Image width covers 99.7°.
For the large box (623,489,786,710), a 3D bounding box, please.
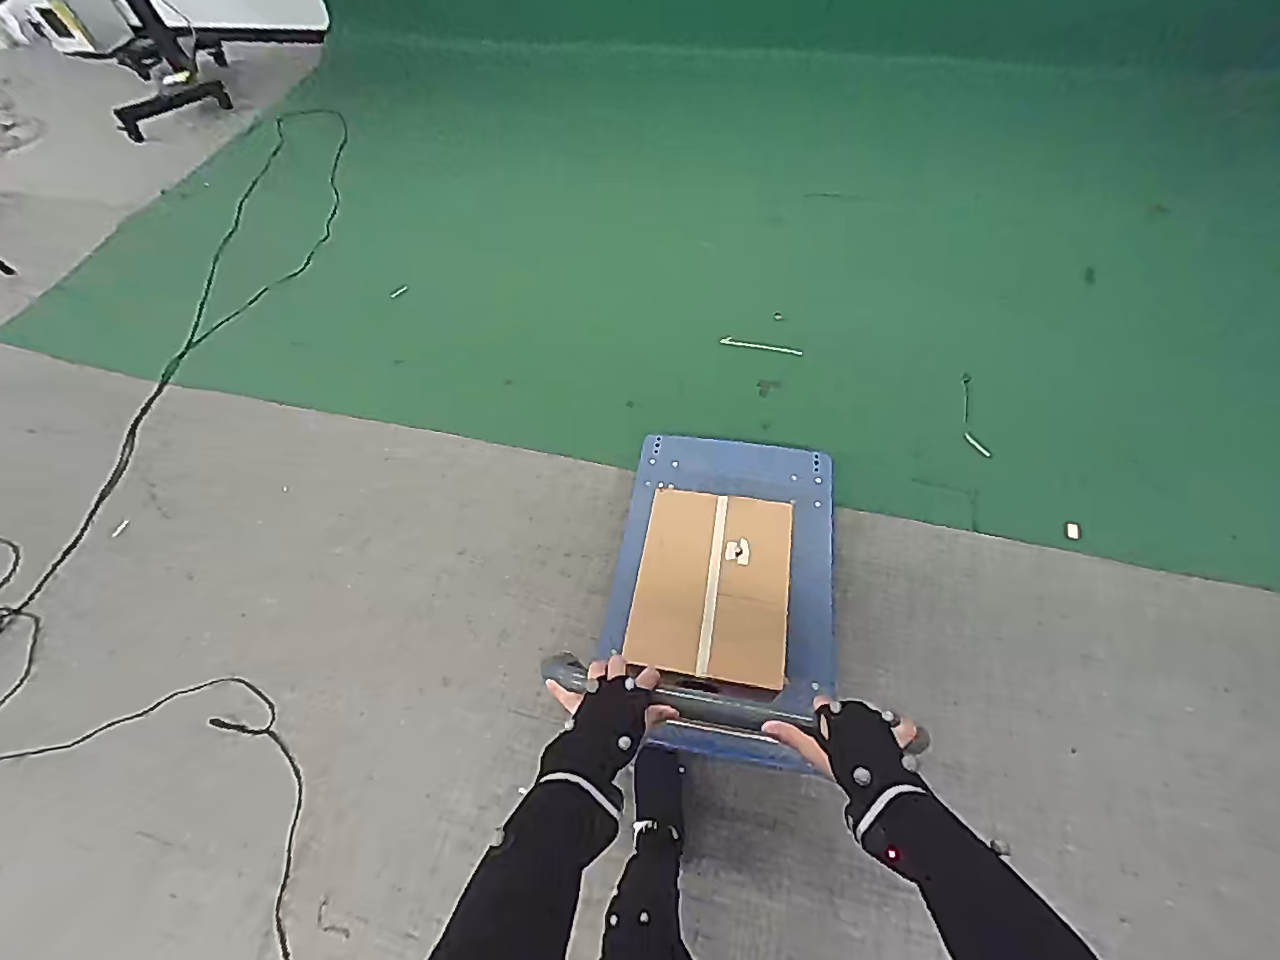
[{"bbox_3d":[0.158,0.282,1.264,0.320,0.320,0.408,7,58,8],"label":"large box"}]
